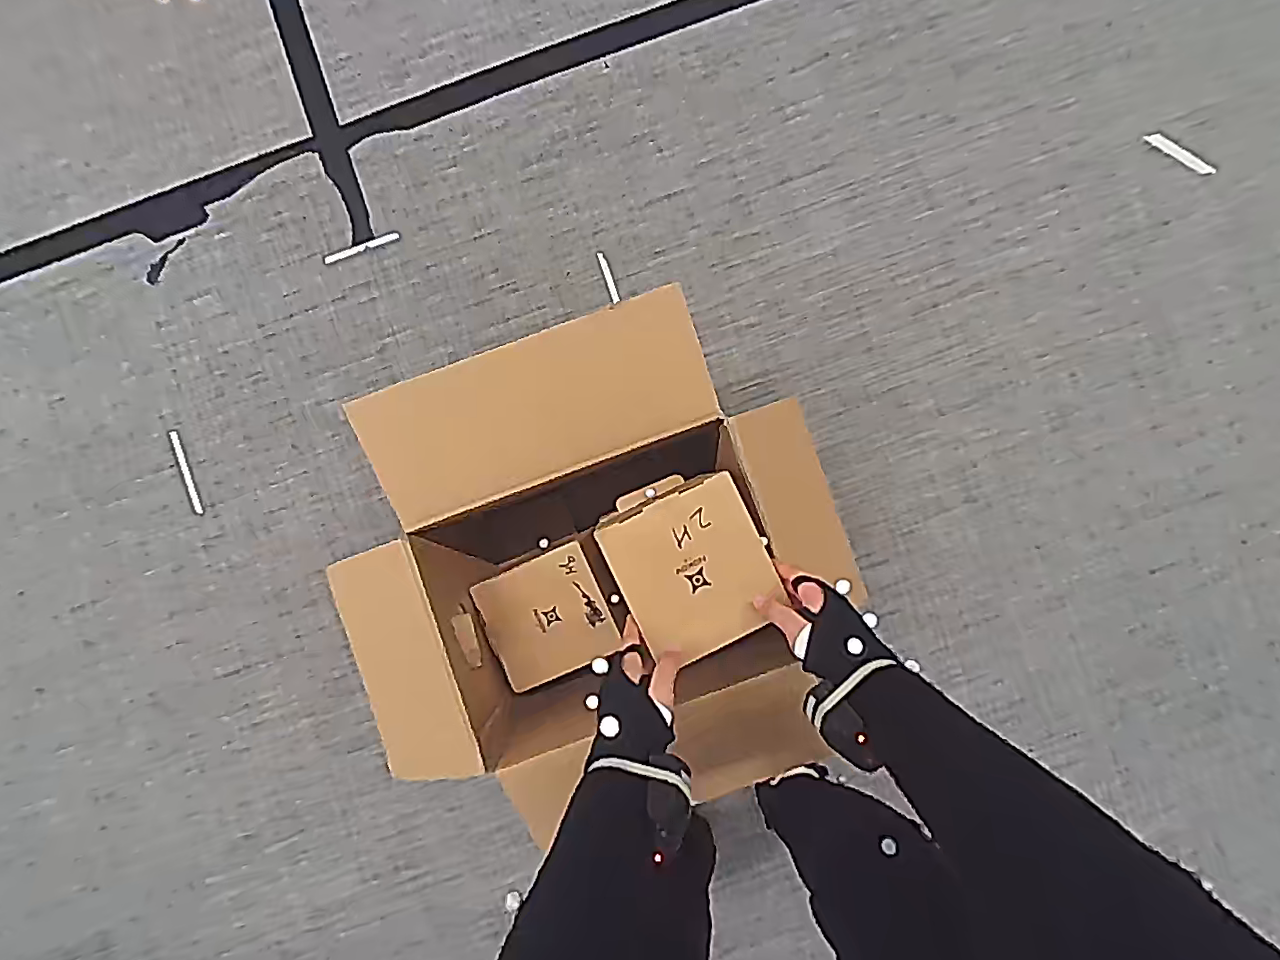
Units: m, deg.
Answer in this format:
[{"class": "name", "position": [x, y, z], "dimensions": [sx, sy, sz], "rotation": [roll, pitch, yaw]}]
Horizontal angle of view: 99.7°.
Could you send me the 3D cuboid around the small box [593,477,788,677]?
[{"class": "small box", "position": [0.054, 0.106, 0.672], "dimensions": [0.168, 0.176, 0.179], "rotation": [-25, 89, -3]}]
